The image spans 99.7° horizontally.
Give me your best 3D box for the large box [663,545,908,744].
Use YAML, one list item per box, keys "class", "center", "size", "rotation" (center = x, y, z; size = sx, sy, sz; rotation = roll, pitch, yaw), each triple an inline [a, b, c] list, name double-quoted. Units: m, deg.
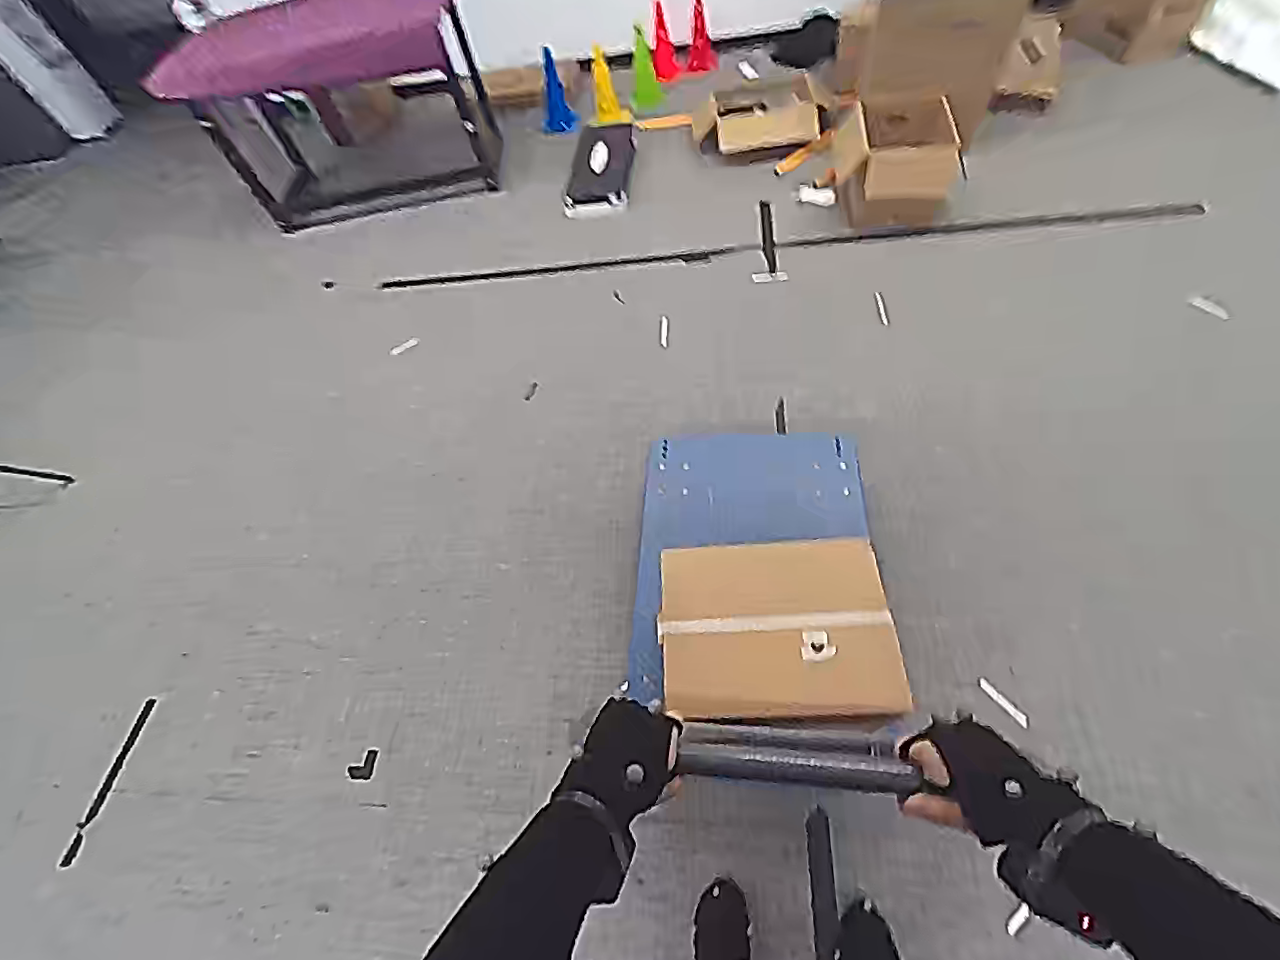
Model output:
- class: "large box"
  center: [0.261, 0.349, 1.110]
  size: [0.408, 0.320, 0.320]
  rotation: [-4, 58, 5]
